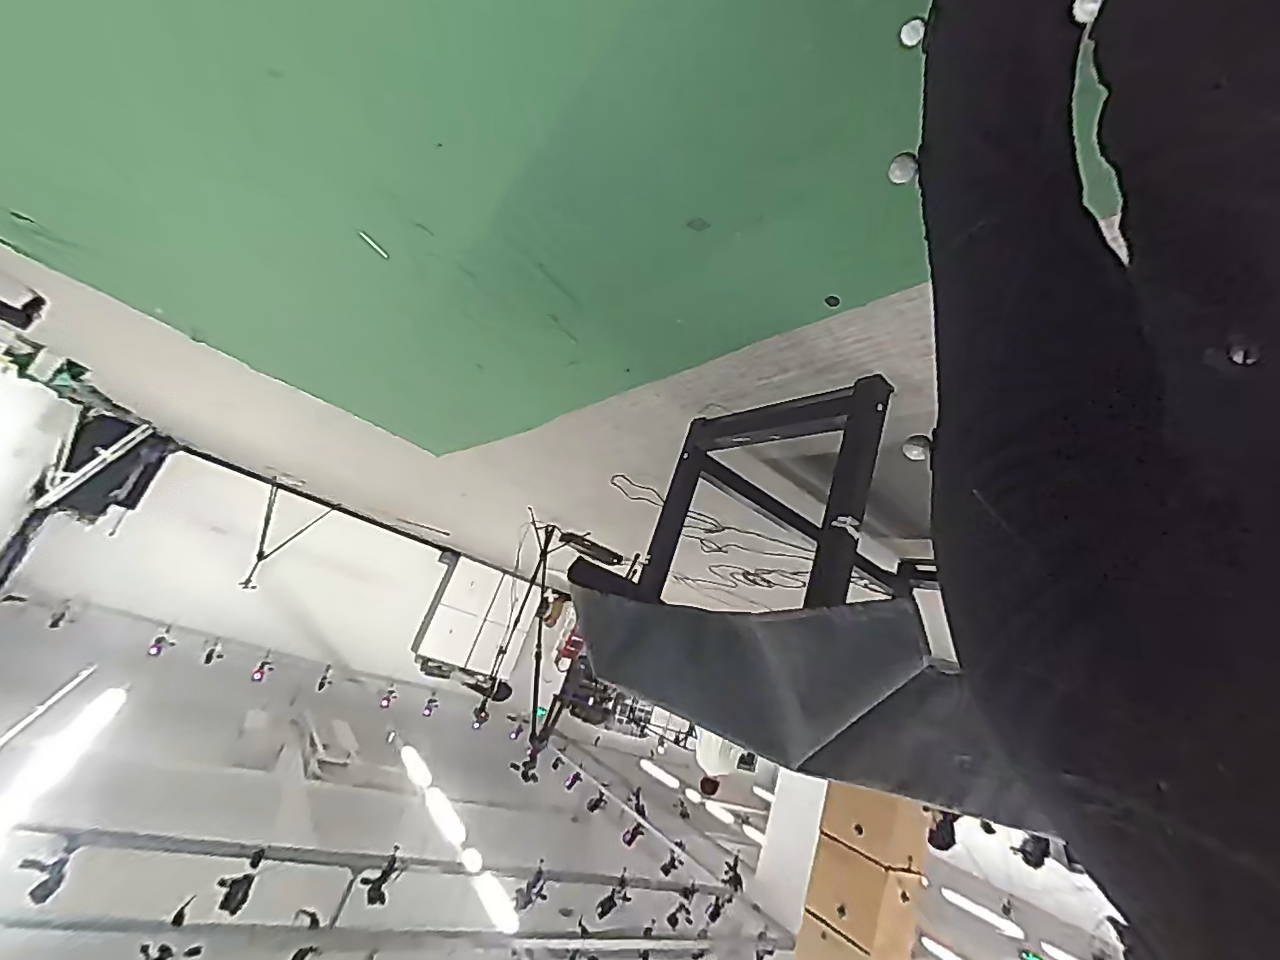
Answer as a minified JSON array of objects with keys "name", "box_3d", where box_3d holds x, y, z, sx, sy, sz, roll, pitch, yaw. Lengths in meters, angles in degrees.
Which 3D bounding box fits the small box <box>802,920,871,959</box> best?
[{"name":"small box","box_3d":[0.466,1.100,1.184,0.179,0.176,0.168,31,159,-30]}]

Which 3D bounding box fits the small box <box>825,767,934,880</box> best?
[{"name":"small box","box_3d":[0.575,0.810,1.287,0.168,0.176,0.179,30,161,-28]}]

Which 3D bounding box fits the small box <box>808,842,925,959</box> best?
[{"name":"small box","box_3d":[0.521,0.954,1.237,0.168,0.176,0.179,31,159,-29]}]
